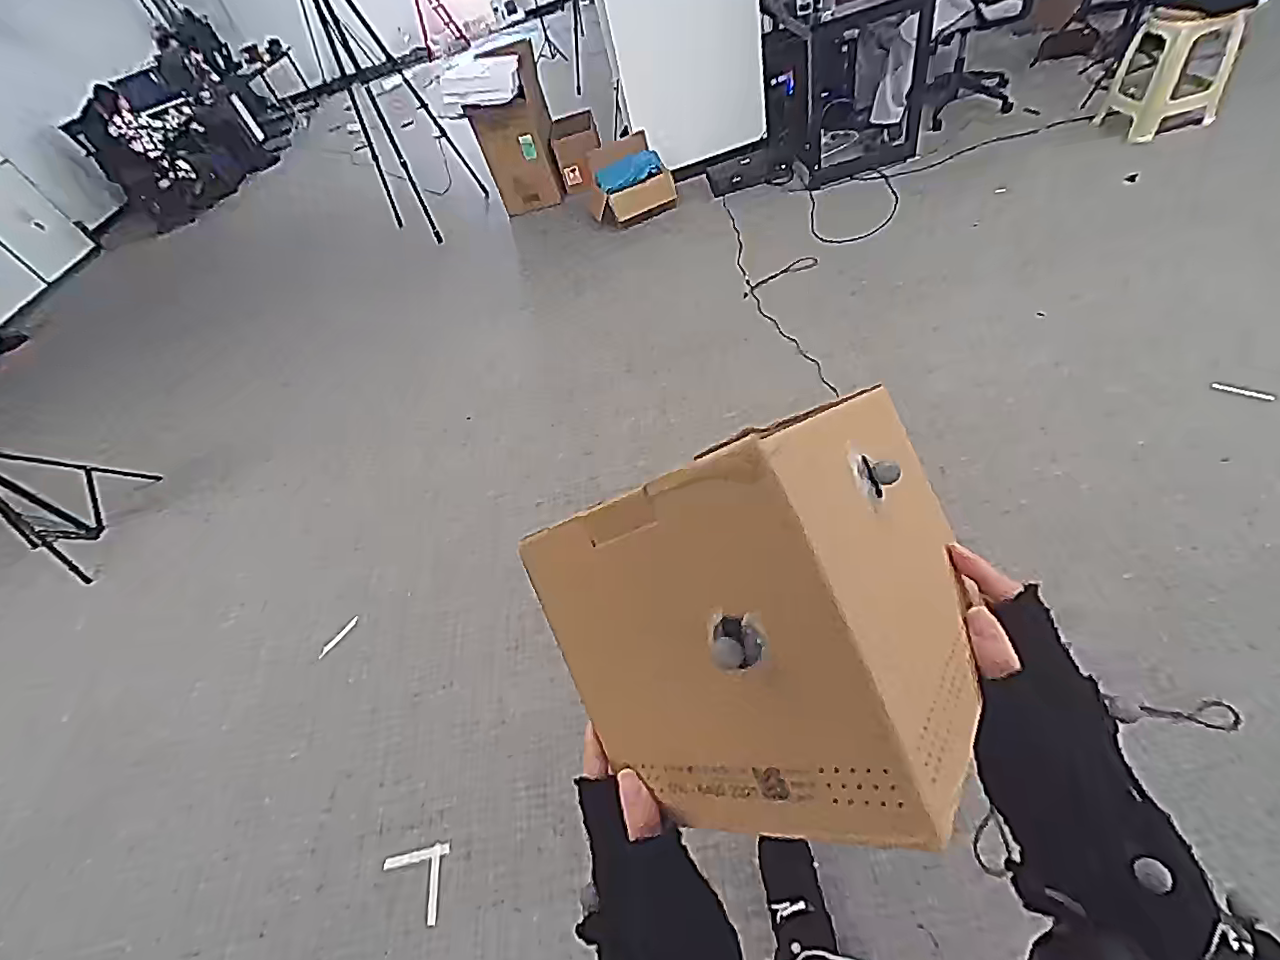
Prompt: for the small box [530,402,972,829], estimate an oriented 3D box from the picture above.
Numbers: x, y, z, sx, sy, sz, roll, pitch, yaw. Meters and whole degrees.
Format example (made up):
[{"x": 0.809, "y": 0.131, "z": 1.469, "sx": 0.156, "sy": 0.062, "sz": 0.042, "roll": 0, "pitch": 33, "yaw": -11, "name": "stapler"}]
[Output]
[{"x": 0.072, "y": 0.073, "z": 0.329, "sx": 0.168, "sy": 0.176, "sz": 0.179, "roll": -26, "pitch": -3, "yaw": 42, "name": "small box"}]
